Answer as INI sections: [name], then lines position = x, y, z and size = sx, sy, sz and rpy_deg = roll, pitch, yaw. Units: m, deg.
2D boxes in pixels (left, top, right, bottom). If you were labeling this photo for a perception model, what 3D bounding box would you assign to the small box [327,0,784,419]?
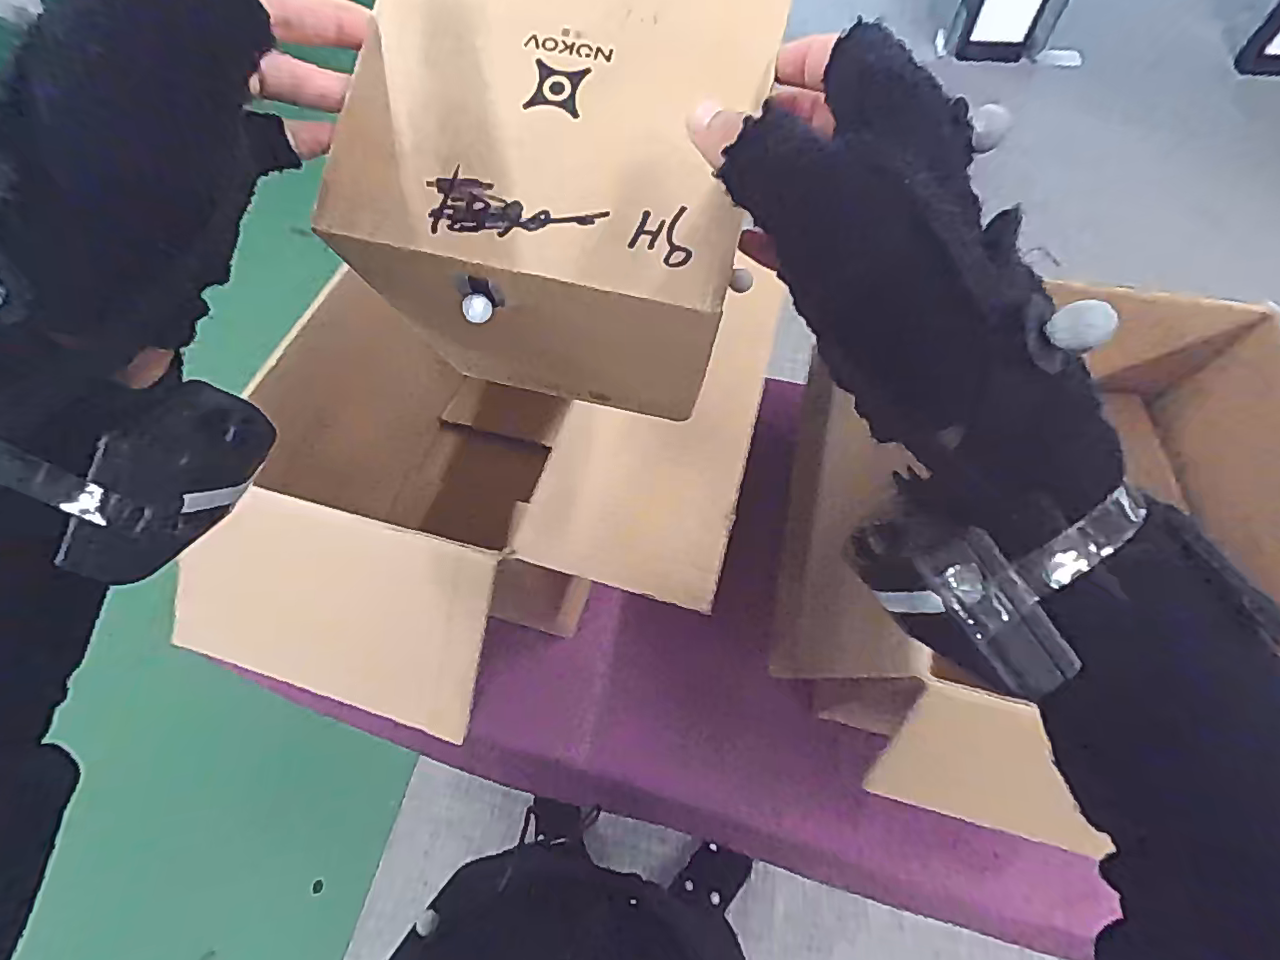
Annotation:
[small box]
position = -0.031, -0.153, 0.312
size = 0.168, 0.176, 0.179
rpy_deg = 13, 81, 4
